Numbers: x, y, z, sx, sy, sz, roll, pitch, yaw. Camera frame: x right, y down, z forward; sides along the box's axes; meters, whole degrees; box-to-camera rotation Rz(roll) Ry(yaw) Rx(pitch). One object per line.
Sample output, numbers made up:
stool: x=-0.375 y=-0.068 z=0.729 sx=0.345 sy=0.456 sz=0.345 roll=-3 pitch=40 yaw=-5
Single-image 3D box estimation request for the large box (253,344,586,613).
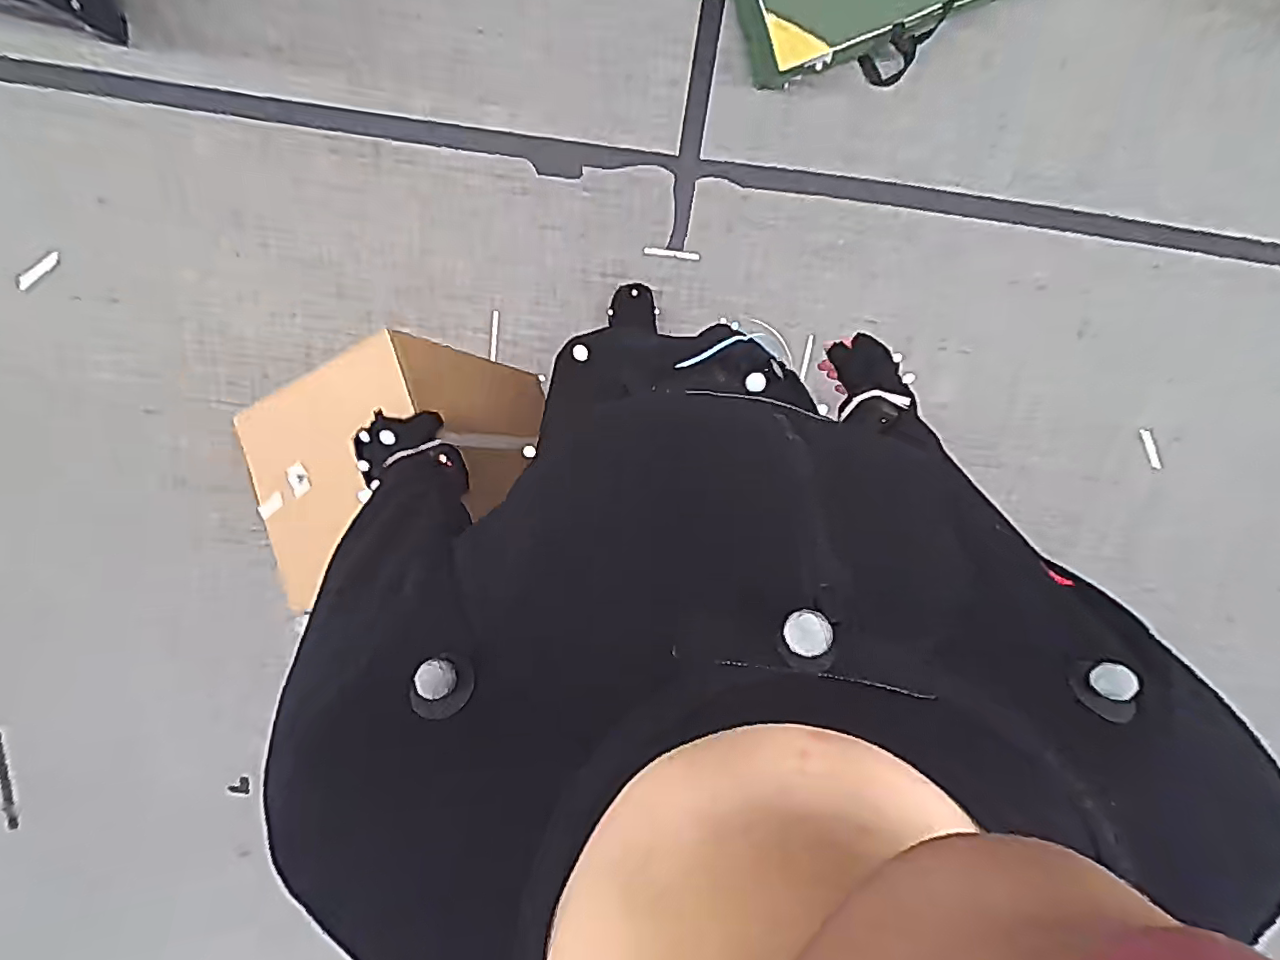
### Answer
large box: x=-0.351 y=-0.002 z=0.954 sx=0.320 sy=0.408 sz=0.320 roll=-21 pitch=86 yaw=17
